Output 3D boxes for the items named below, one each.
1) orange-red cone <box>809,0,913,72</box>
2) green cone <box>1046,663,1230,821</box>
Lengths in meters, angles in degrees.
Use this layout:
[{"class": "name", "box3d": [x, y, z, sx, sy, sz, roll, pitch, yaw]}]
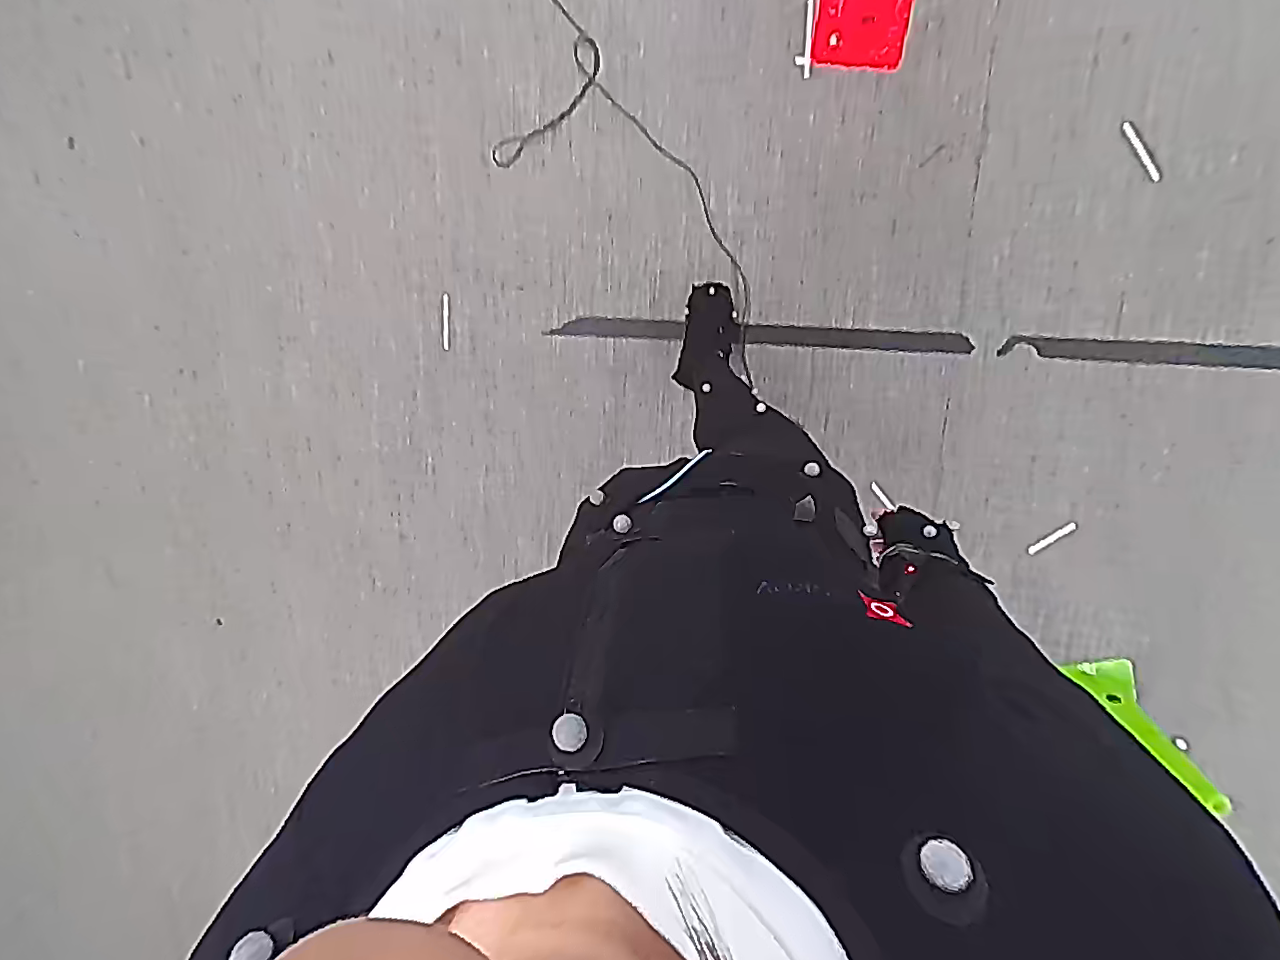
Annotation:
[{"class": "orange-red cone", "box3d": [0.464, -0.980, 1.010, 0.199, 0.360, 0.198, 11, 101, 5]}, {"class": "green cone", "box3d": [1.096, 0.579, 1.167, 0.202, 0.368, 0.200, -12, 96, 11]}]
